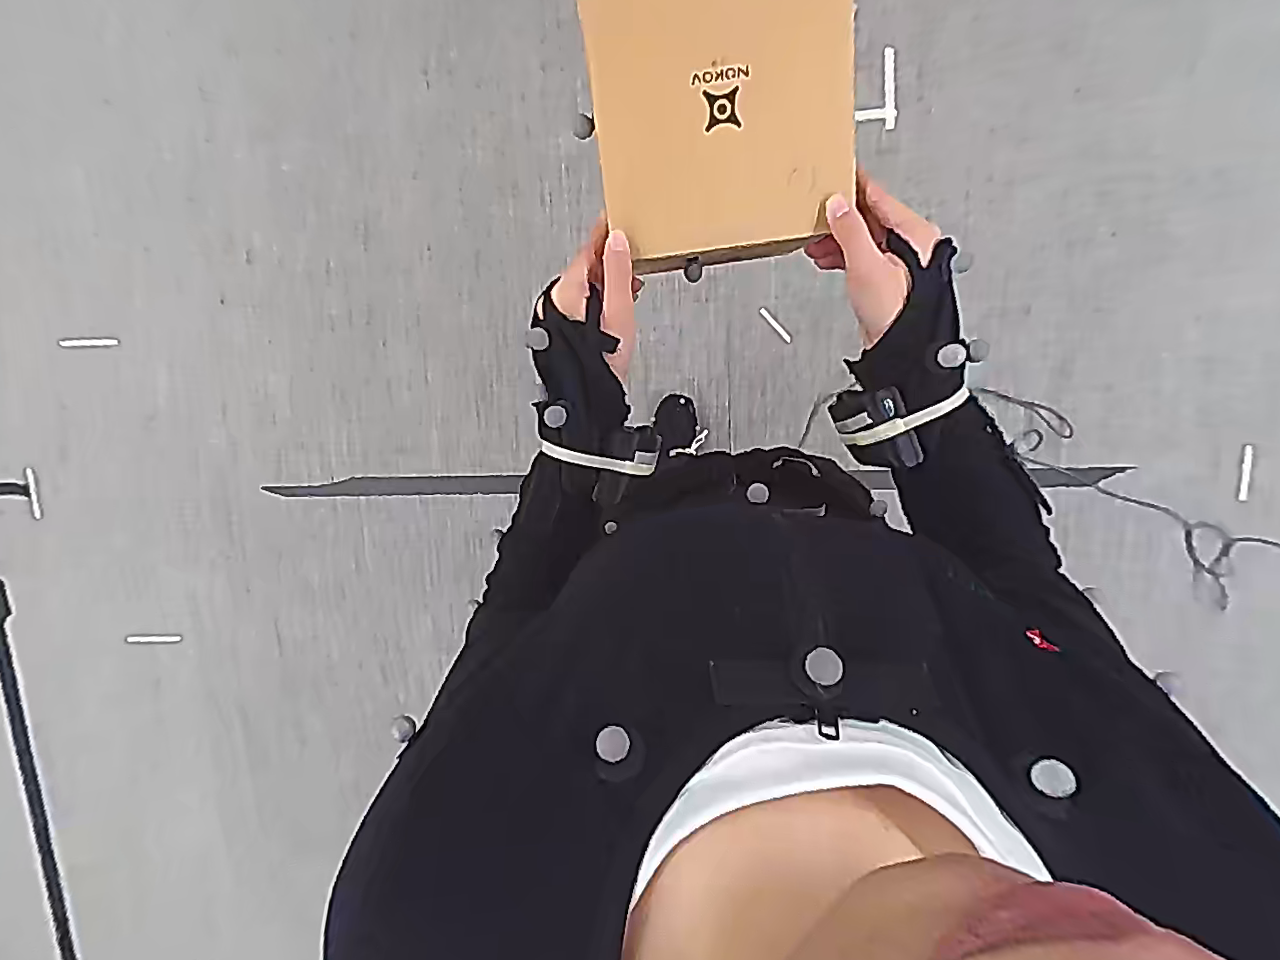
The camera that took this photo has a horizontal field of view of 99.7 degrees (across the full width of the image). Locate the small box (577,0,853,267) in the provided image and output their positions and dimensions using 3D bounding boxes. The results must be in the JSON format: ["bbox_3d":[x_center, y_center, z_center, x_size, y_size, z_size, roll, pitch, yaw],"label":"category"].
[{"bbox_3d":[0.053,-0.267,0.414,0.168,0.176,0.179,-7,106,4],"label":"small box"}]
